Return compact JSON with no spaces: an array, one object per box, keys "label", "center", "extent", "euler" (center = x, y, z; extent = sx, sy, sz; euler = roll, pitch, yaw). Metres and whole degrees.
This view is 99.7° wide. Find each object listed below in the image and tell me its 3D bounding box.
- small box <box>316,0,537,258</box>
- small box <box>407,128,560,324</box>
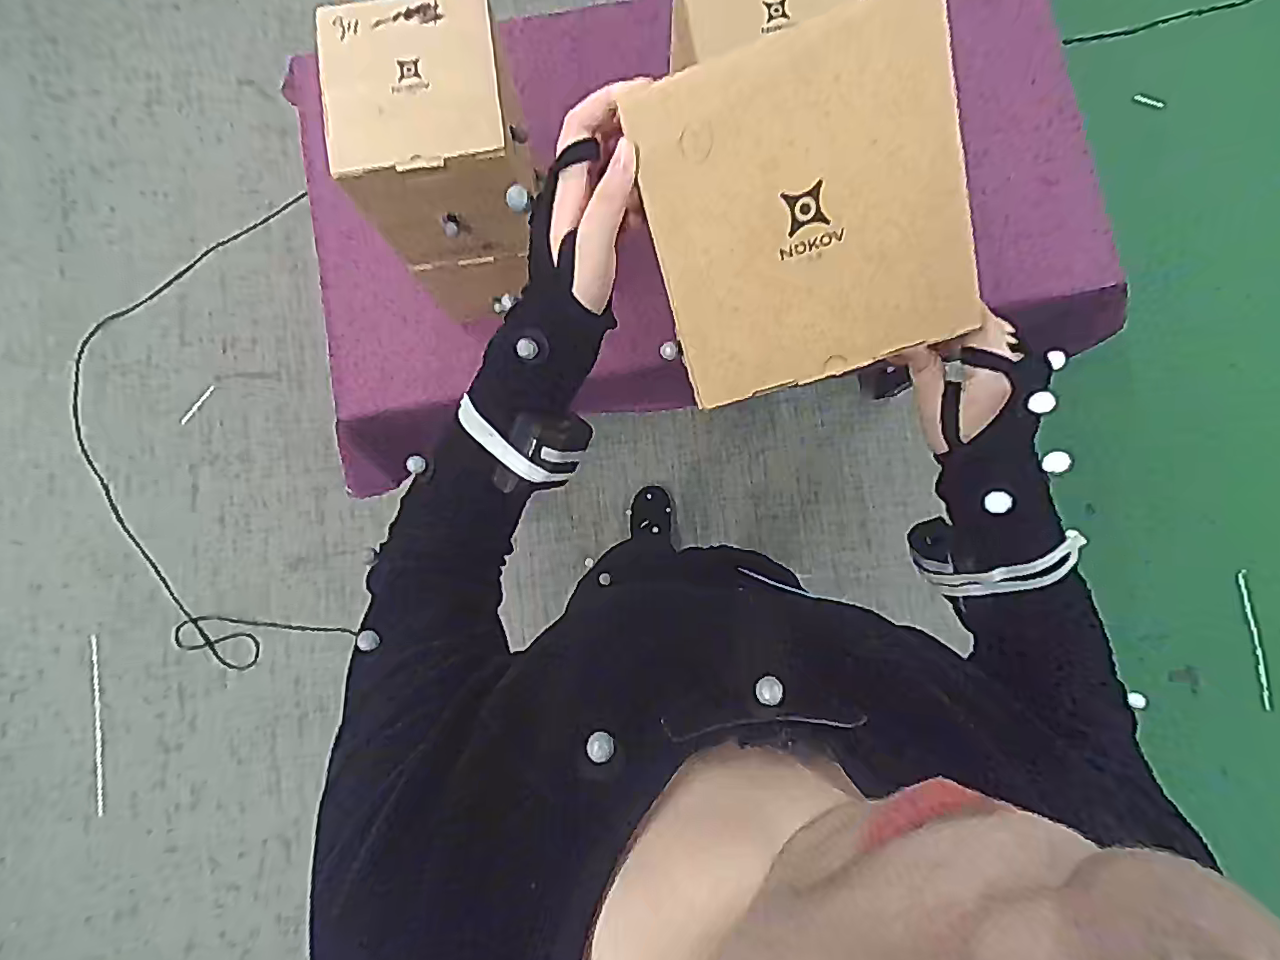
[{"label":"small box","center":[-0.214,-0.360,0.584],"extent":[0.168,0.176,0.179],"euler":[-8,84,-1]},{"label":"small box","center":[-0.212,-0.339,0.748],"extent":[0.168,0.176,0.179],"euler":[-8,84,0]}]
